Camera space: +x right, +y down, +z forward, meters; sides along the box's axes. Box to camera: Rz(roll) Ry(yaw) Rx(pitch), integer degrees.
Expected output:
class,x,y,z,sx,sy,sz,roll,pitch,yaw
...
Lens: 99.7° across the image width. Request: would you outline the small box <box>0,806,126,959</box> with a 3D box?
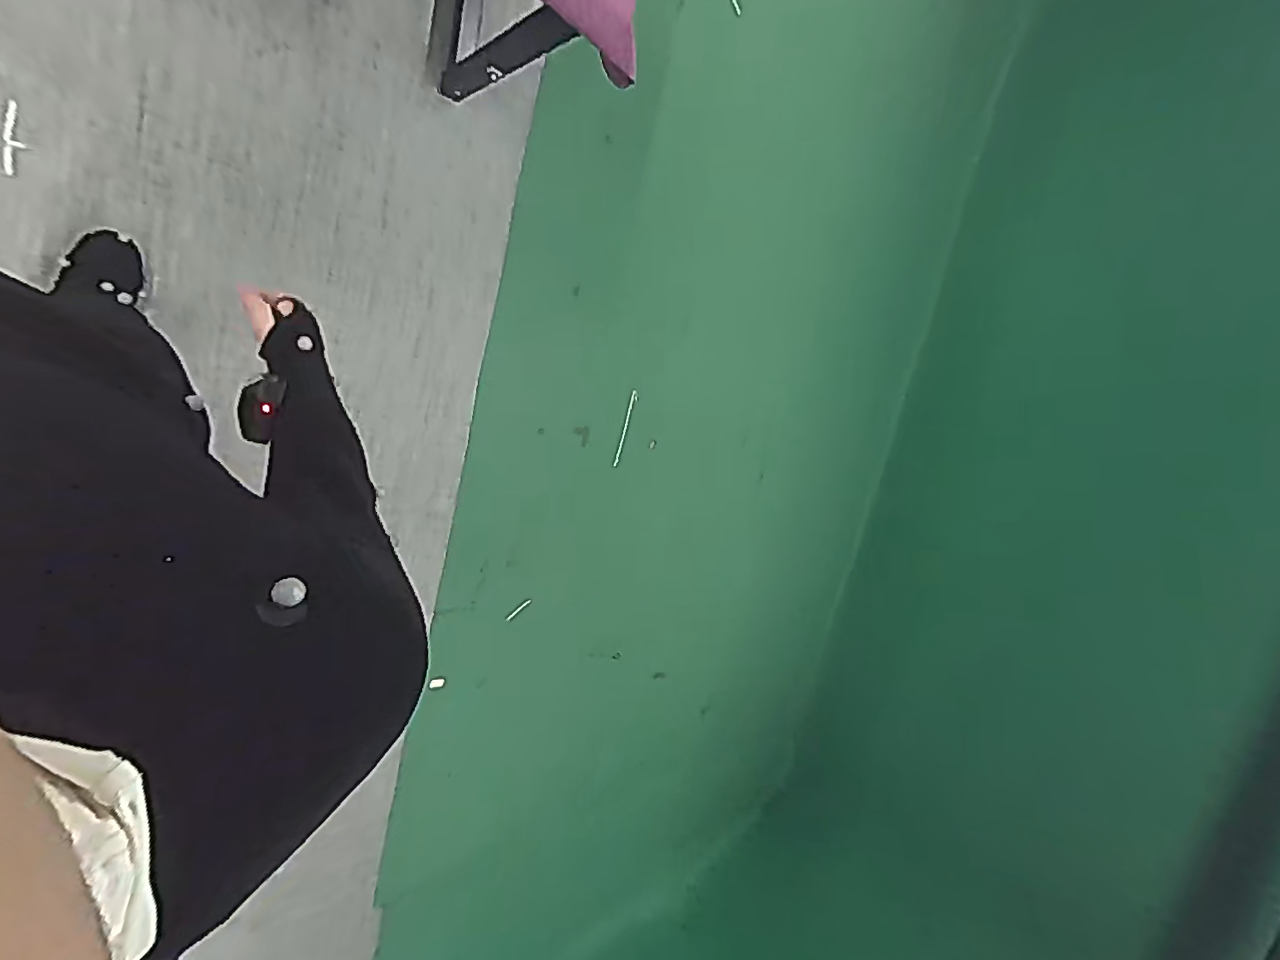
class,x,y,z,sx,sy,sz,roll,pitch,yaw
small box,-1.185,0.825,1.115,0.168,0.176,0.179,8,102,-45
